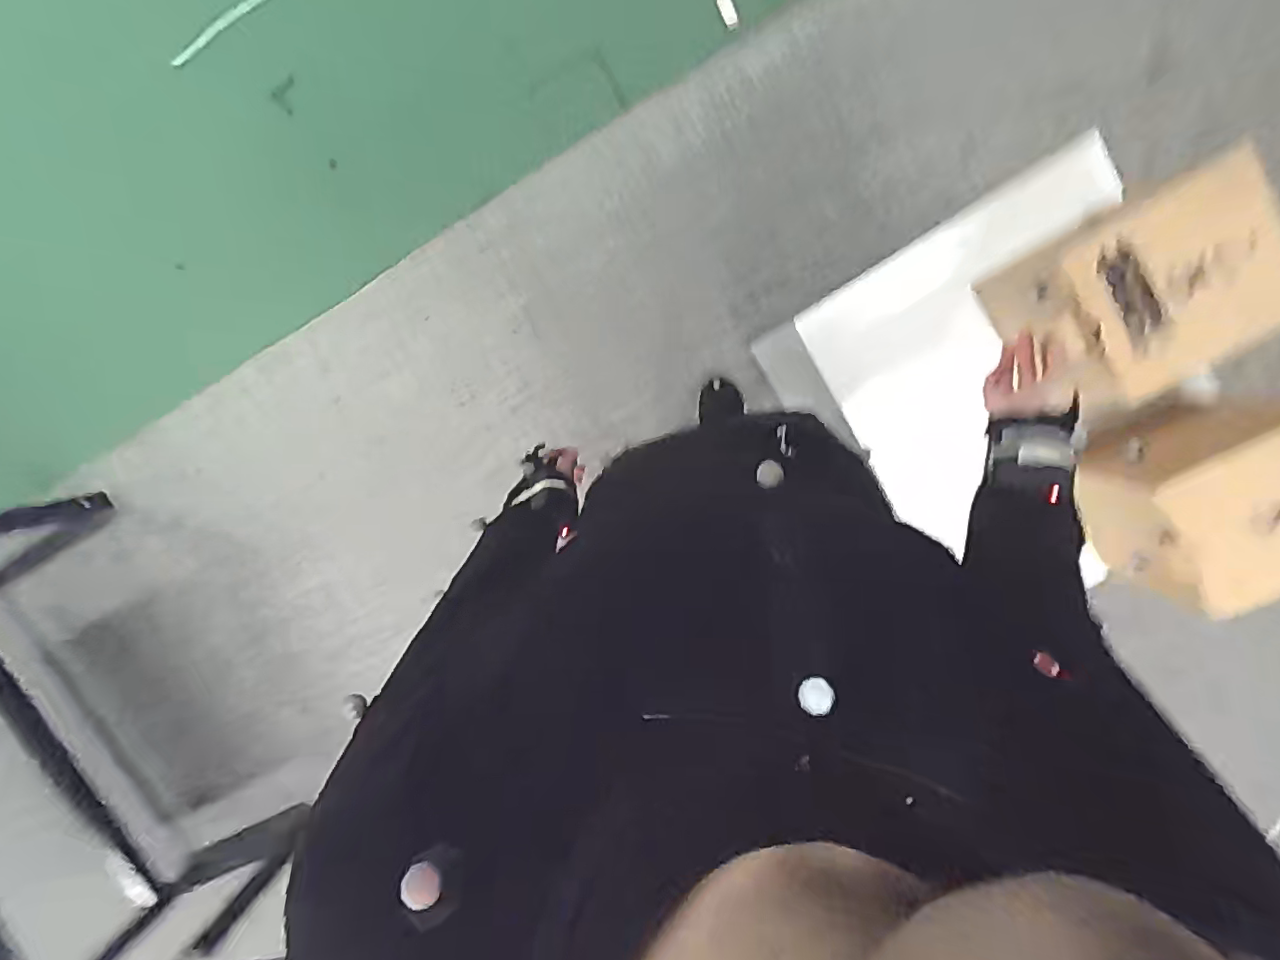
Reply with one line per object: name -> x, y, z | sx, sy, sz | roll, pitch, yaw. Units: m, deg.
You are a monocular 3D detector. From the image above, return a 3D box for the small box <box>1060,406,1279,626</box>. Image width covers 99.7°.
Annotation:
small box -> 0.632, 0.029, 0.617 | 0.179, 0.176, 0.168 | -30, 97, 9
